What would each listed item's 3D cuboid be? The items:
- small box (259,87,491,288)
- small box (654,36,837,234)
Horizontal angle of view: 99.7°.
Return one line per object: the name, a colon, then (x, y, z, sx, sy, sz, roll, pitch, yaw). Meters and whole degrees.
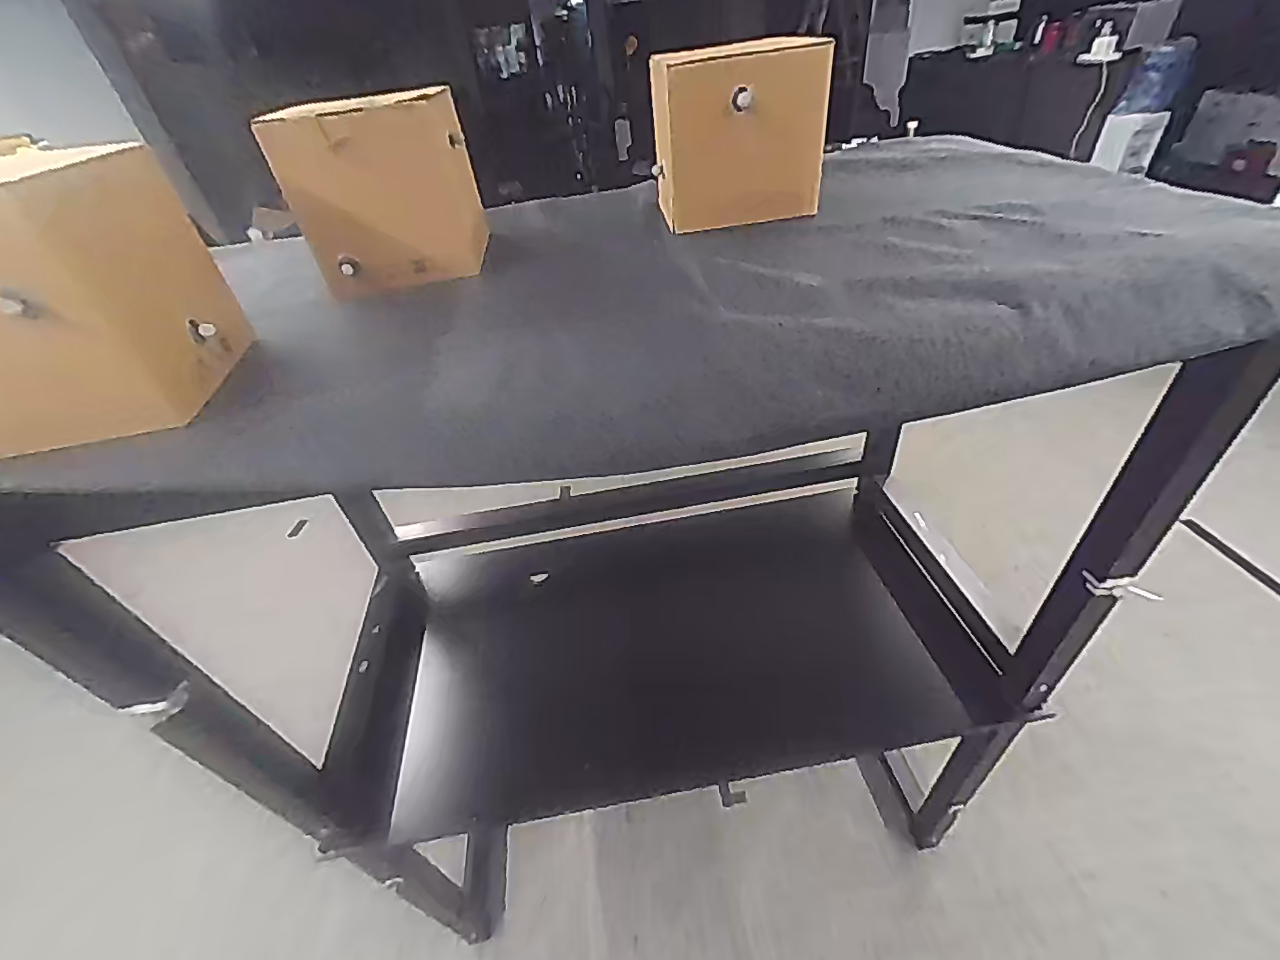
small box: (-0.278, -0.331, 0.620, 0.168, 0.176, 0.179, -10, 39, -2)
small box: (0.116, -0.417, 0.655, 0.179, 0.176, 0.168, -8, 40, 1)
